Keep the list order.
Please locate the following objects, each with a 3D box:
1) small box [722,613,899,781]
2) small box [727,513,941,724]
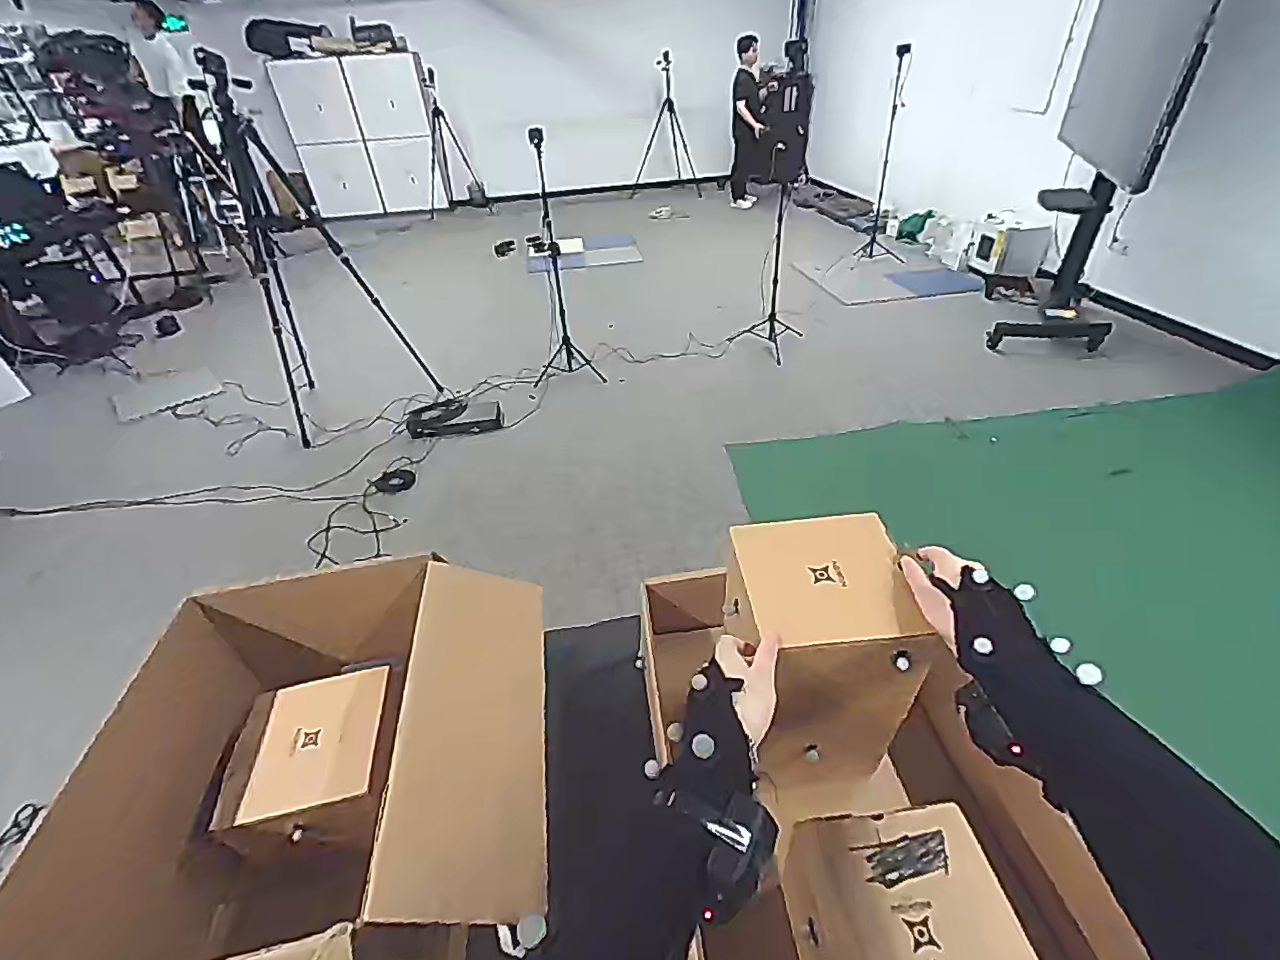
[{"bbox_3d":[0.213,0.282,0.728,0.179,0.176,0.168,-8,41,-2],"label":"small box"},{"bbox_3d":[0.200,0.160,0.620,0.179,0.176,0.168,-5,41,-2],"label":"small box"}]
